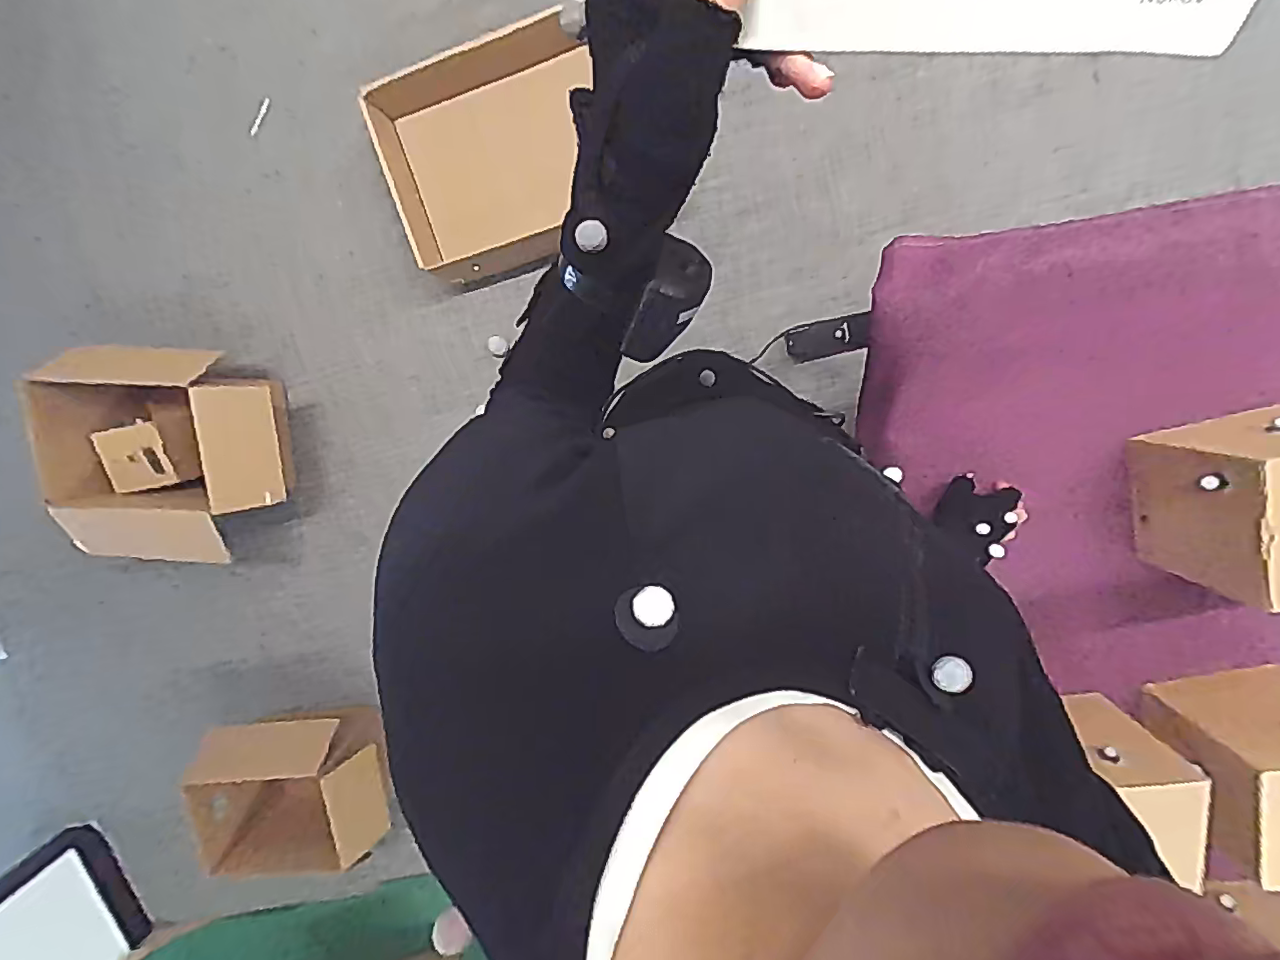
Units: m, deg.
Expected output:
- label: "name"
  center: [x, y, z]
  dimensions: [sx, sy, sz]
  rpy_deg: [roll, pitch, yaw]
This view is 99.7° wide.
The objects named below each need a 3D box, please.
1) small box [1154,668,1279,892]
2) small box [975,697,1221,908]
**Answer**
- label: "small box"
  center: [0.789, 0.358, 0.668]
  dimensions: [0.179, 0.176, 0.168]
  rpy_deg: [-12, 101, 7]
- label: "small box"
  center: [0.565, 0.399, 0.693]
  dimensions: [0.179, 0.176, 0.168]
  rpy_deg: [-7, 101, 6]
